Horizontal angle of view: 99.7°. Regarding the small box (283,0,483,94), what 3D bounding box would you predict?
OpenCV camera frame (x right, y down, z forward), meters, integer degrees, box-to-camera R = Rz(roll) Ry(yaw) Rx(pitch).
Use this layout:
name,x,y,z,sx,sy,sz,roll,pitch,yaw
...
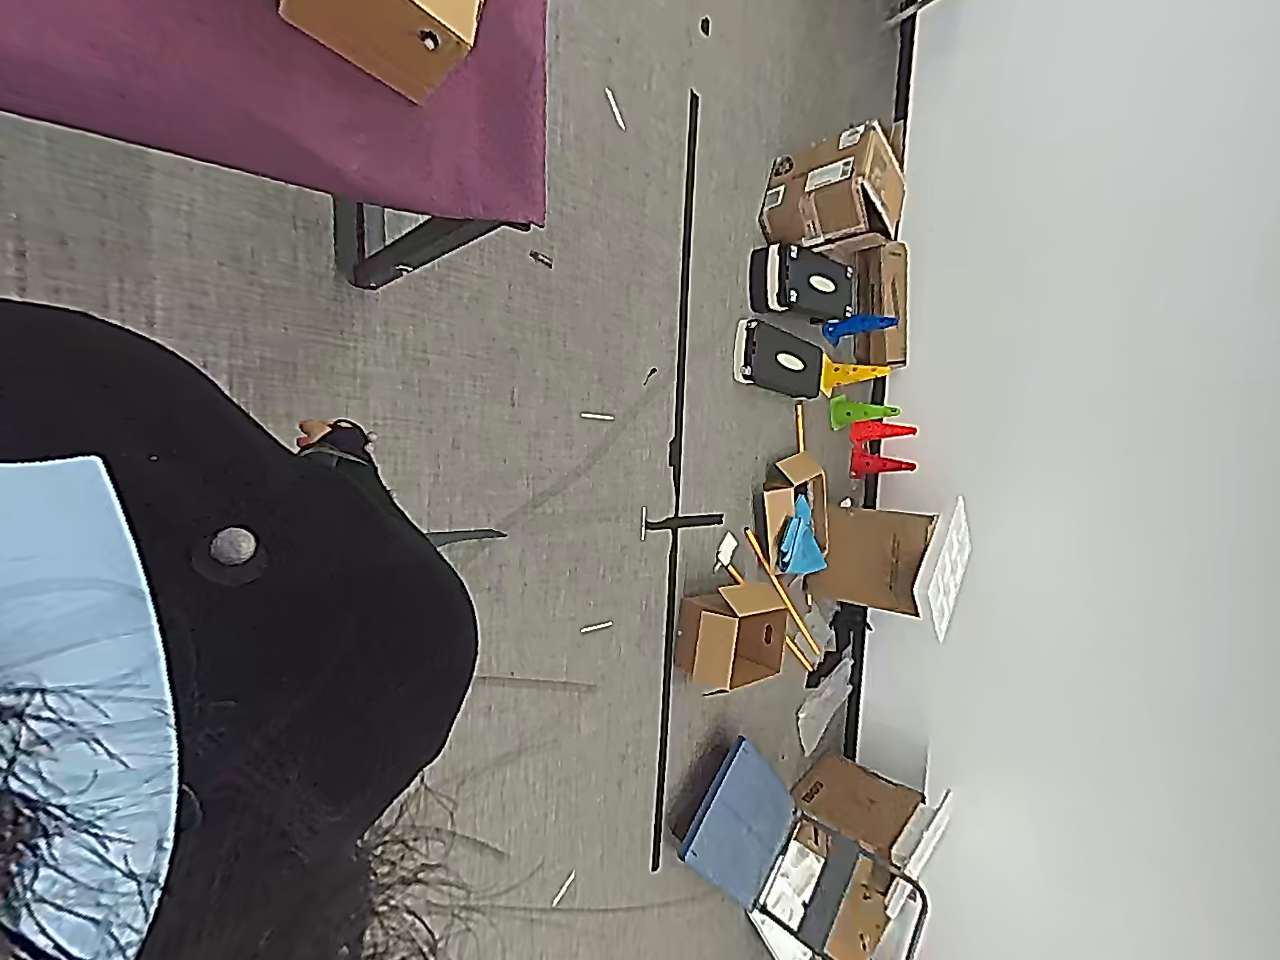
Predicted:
name,x,y,z,sx,sy,sz,roll,pitch,yaw
small box,-0.300,-0.614,0.645,0.179,0.176,0.168,12,87,-44
